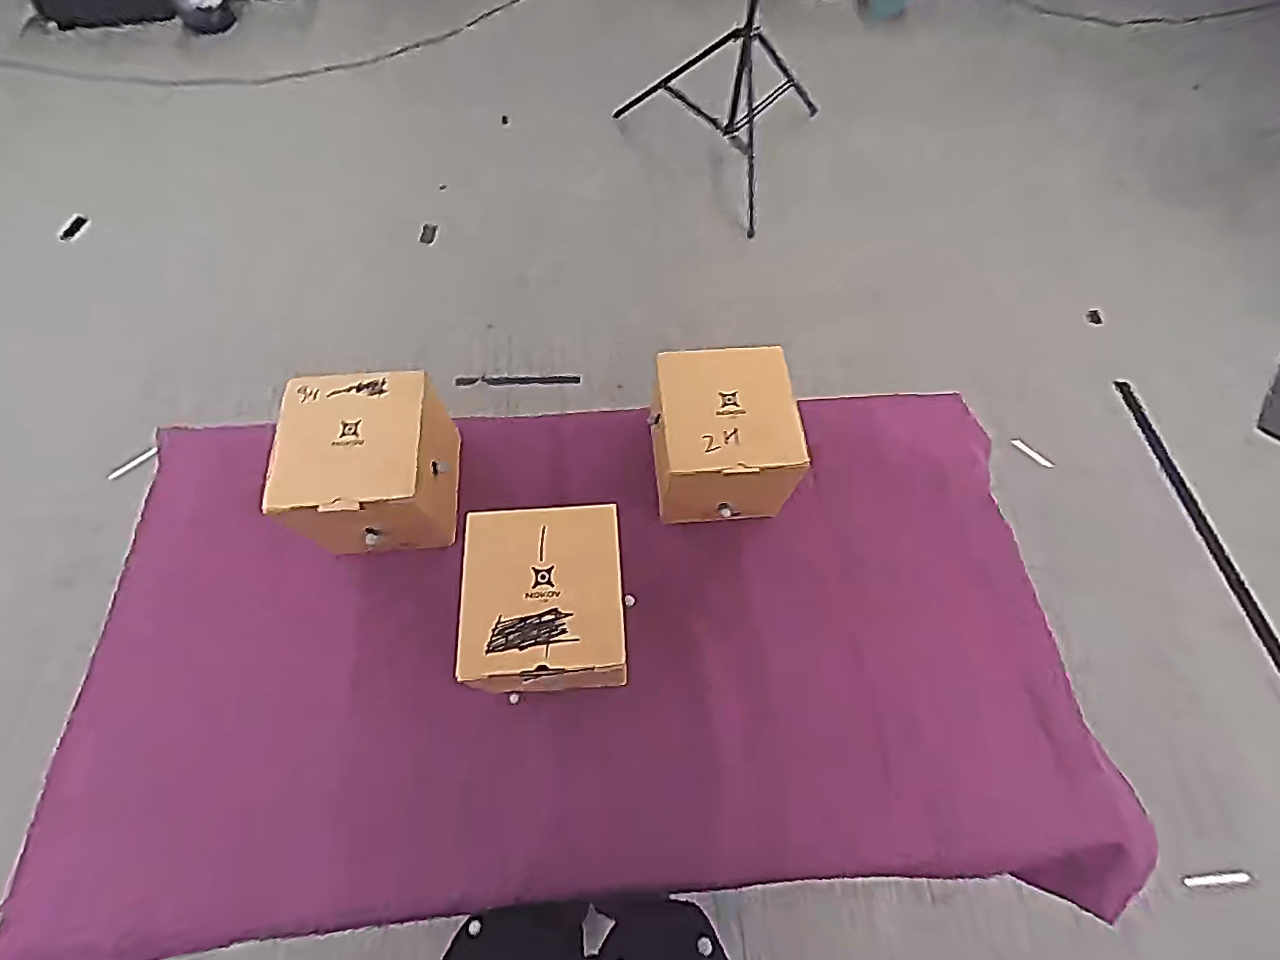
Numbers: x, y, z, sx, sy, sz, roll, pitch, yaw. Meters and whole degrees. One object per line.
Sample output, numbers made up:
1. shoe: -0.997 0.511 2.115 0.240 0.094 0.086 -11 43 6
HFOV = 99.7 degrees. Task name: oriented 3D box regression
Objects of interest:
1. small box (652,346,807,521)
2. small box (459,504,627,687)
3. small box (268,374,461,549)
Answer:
1. small box: 0.106 -0.058 0.736 0.168 0.176 0.179 -4 65 -3
2. small box: -0.101 0.144 0.634 0.168 0.176 0.179 -3 63 -3
3. small box: -0.338 -0.015 0.703 0.168 0.176 0.179 -4 66 -4
